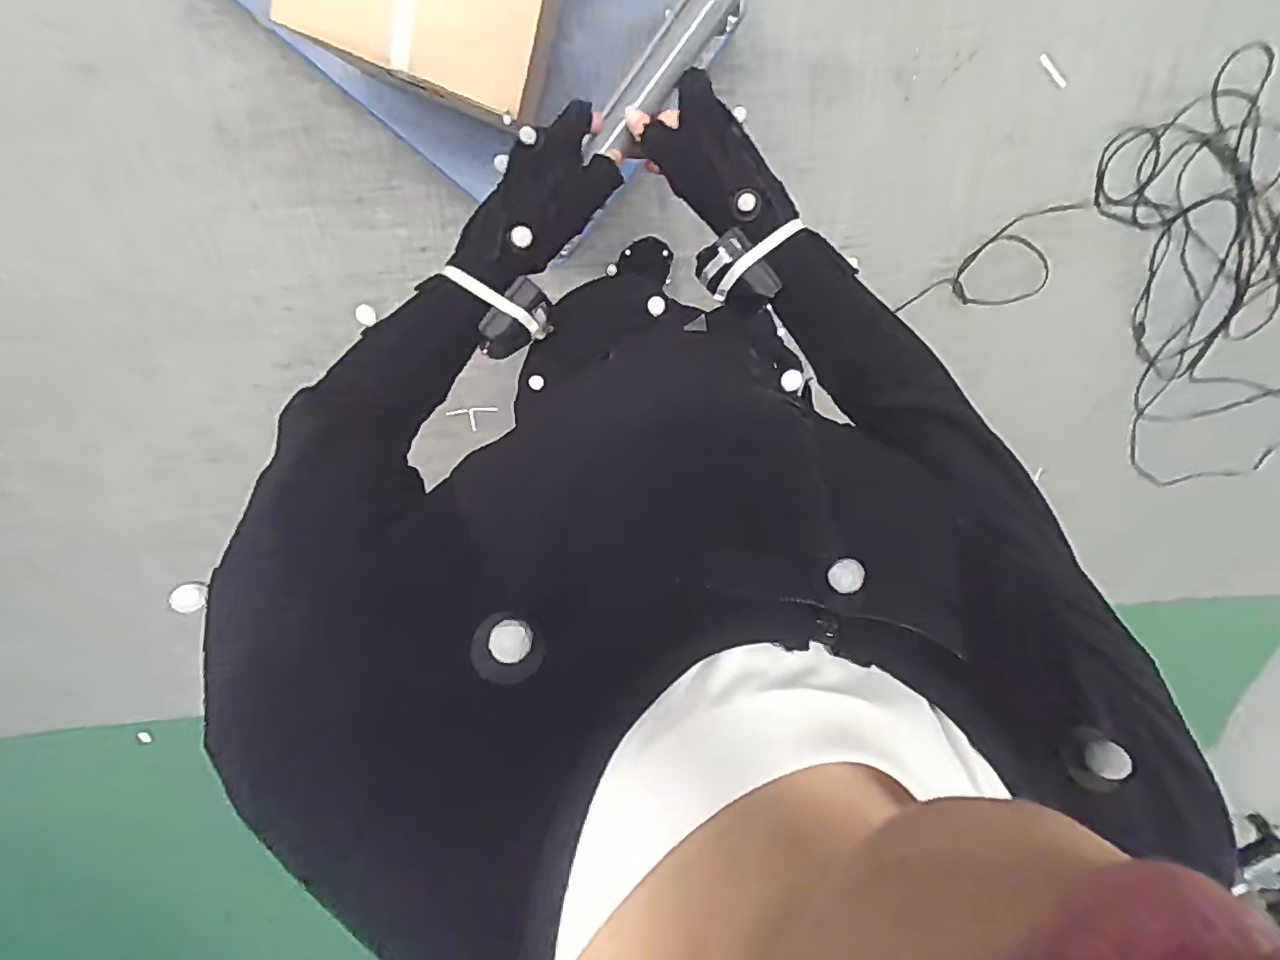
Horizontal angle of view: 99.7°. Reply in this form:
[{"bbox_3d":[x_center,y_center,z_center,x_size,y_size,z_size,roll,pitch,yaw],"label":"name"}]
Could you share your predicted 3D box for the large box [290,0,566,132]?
[{"bbox_3d":[-0.254,-0.782,0.765,0.320,0.320,0.408,15,116,-14],"label":"large box"}]
